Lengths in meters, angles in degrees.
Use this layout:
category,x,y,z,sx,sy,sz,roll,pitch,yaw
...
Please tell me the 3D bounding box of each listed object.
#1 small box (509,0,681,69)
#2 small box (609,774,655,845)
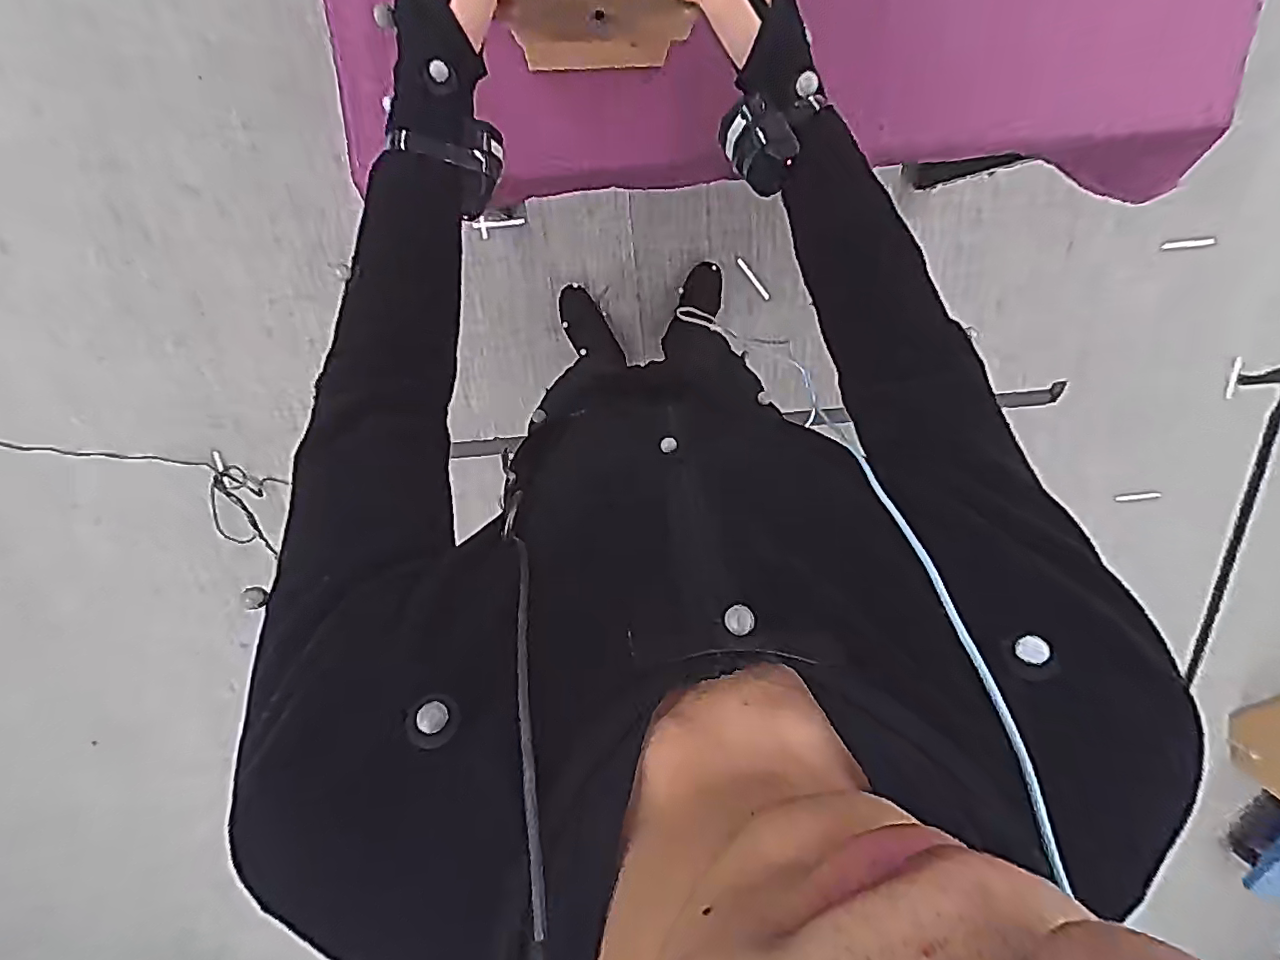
category,x,y,z,sx,sy,sz,roll,pitch,yaw
small box,-0.055,-0.579,0.593,0.179,0.176,0.168,-4,110,-3
small box,-0.031,1.255,2.074,0.168,0.176,0.179,-3,112,-3
